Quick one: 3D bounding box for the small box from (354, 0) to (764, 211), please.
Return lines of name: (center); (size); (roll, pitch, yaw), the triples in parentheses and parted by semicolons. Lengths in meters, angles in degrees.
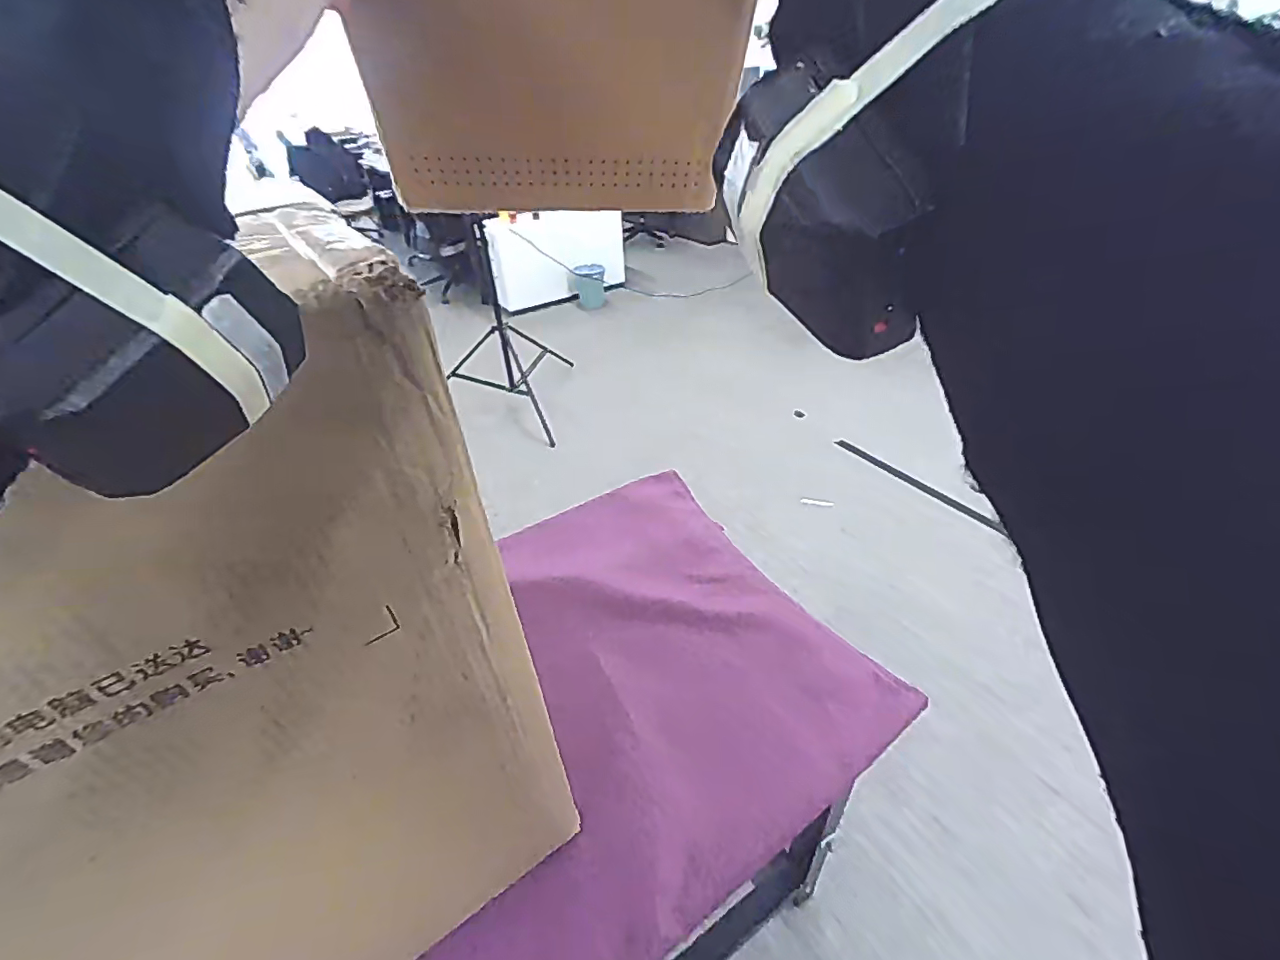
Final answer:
small box: (-0.037, -0.260, 0.272); (0.179, 0.176, 0.168); (-3, 63, -5)
